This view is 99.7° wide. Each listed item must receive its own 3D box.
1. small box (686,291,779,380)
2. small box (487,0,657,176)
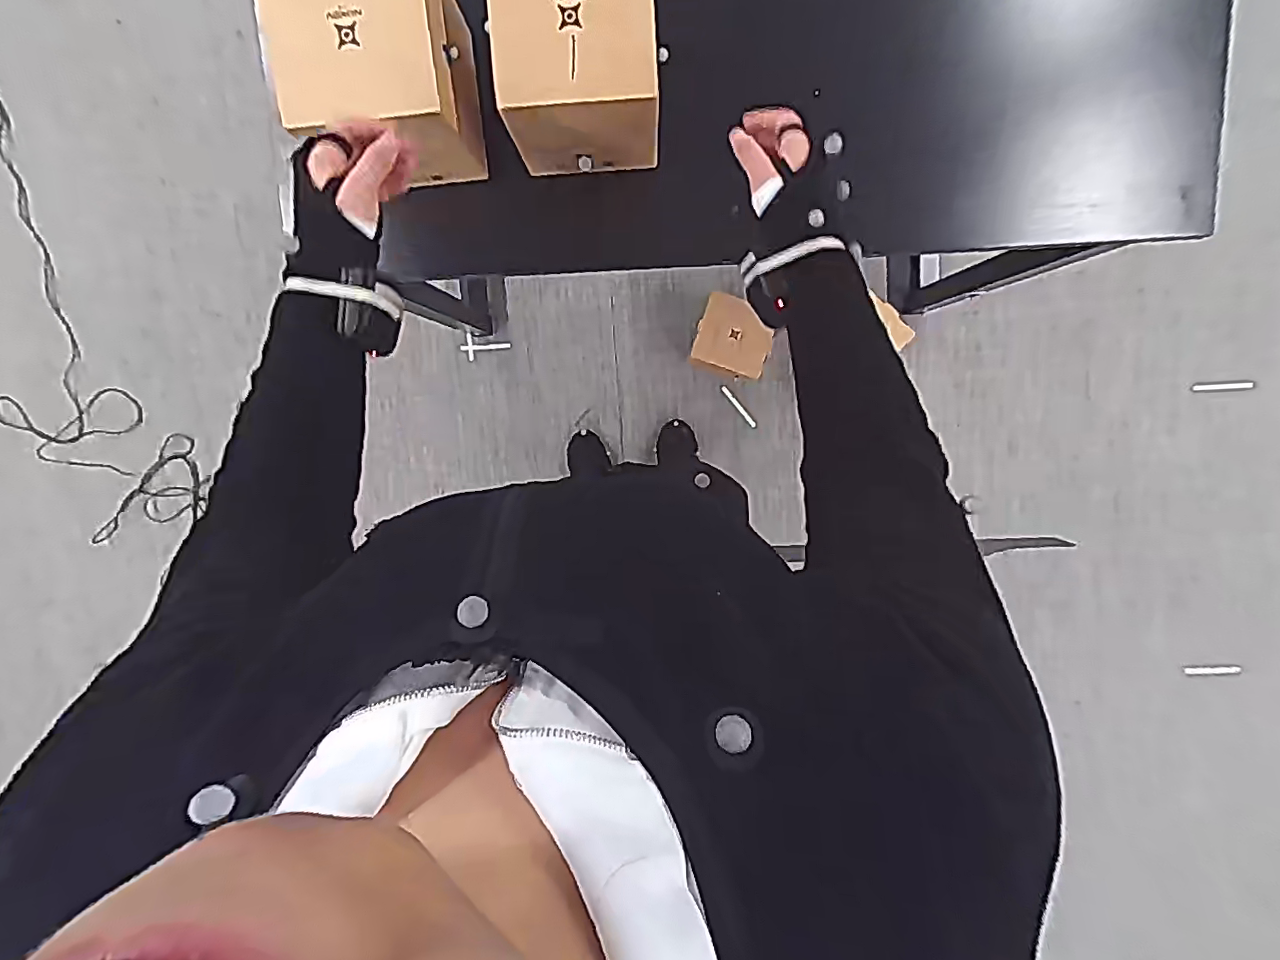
[{"bbox_3d":[0.223,-0.354,1.360,0.179,0.176,0.168,18,97,-1],"label":"small box"},{"bbox_3d":[-0.068,-0.473,0.609,0.168,0.176,0.179,-3,99,2],"label":"small box"}]
